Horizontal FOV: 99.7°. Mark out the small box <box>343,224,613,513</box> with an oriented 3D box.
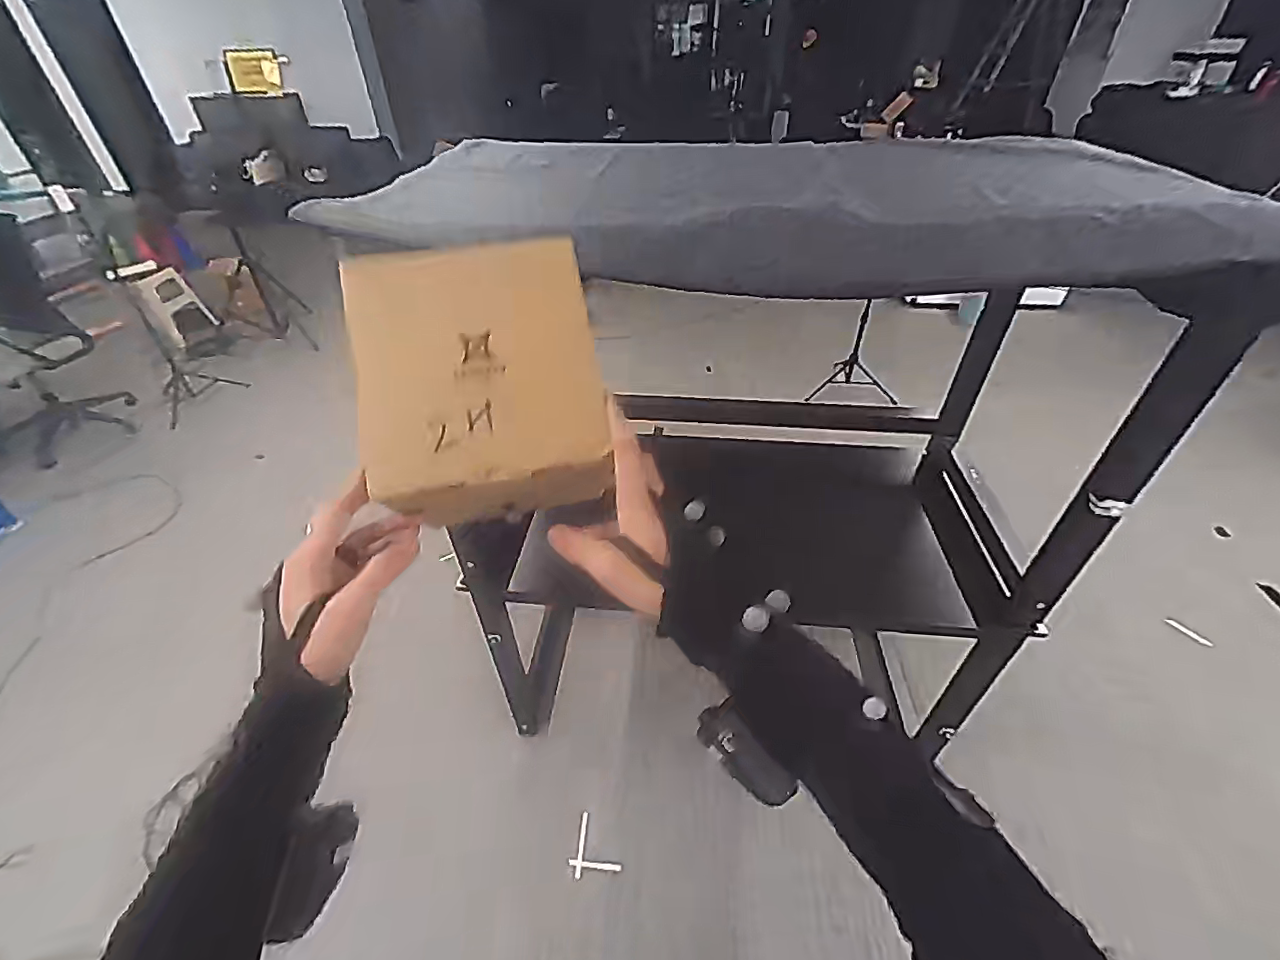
[{"bbox_3d":[-0.123,-0.080,0.451,0.168,0.176,0.179,-9,81,-9],"label":"small box"}]
